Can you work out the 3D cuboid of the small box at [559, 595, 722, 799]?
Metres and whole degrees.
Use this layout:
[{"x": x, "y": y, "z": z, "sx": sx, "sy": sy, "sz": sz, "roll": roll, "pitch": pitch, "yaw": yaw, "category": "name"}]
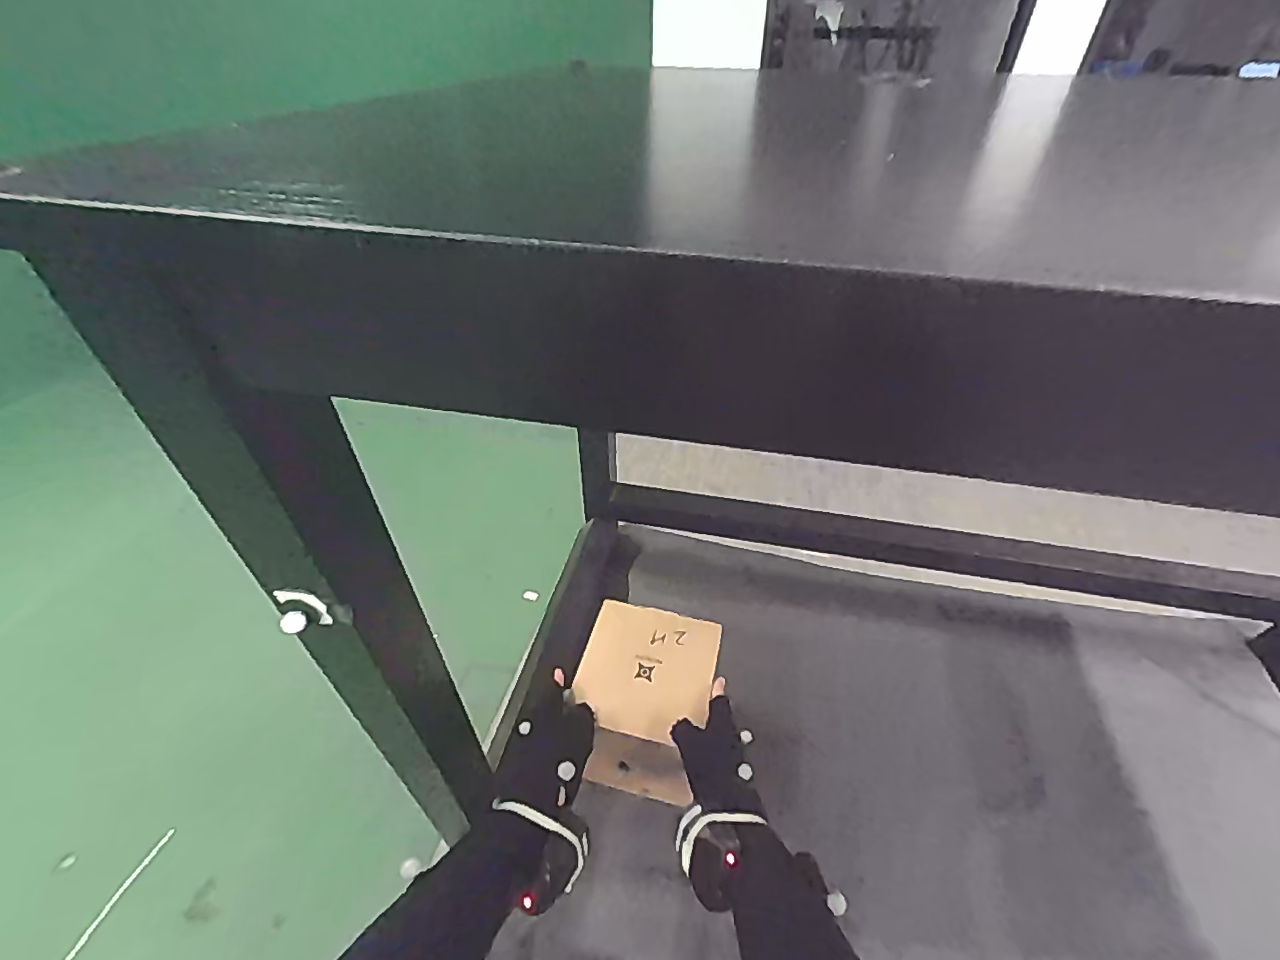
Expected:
[{"x": 0.008, "y": 0.286, "z": 0.713, "sx": 0.168, "sy": 0.176, "sz": 0.179, "roll": 10, "pitch": 41, "yaw": 11, "category": "small box"}]
